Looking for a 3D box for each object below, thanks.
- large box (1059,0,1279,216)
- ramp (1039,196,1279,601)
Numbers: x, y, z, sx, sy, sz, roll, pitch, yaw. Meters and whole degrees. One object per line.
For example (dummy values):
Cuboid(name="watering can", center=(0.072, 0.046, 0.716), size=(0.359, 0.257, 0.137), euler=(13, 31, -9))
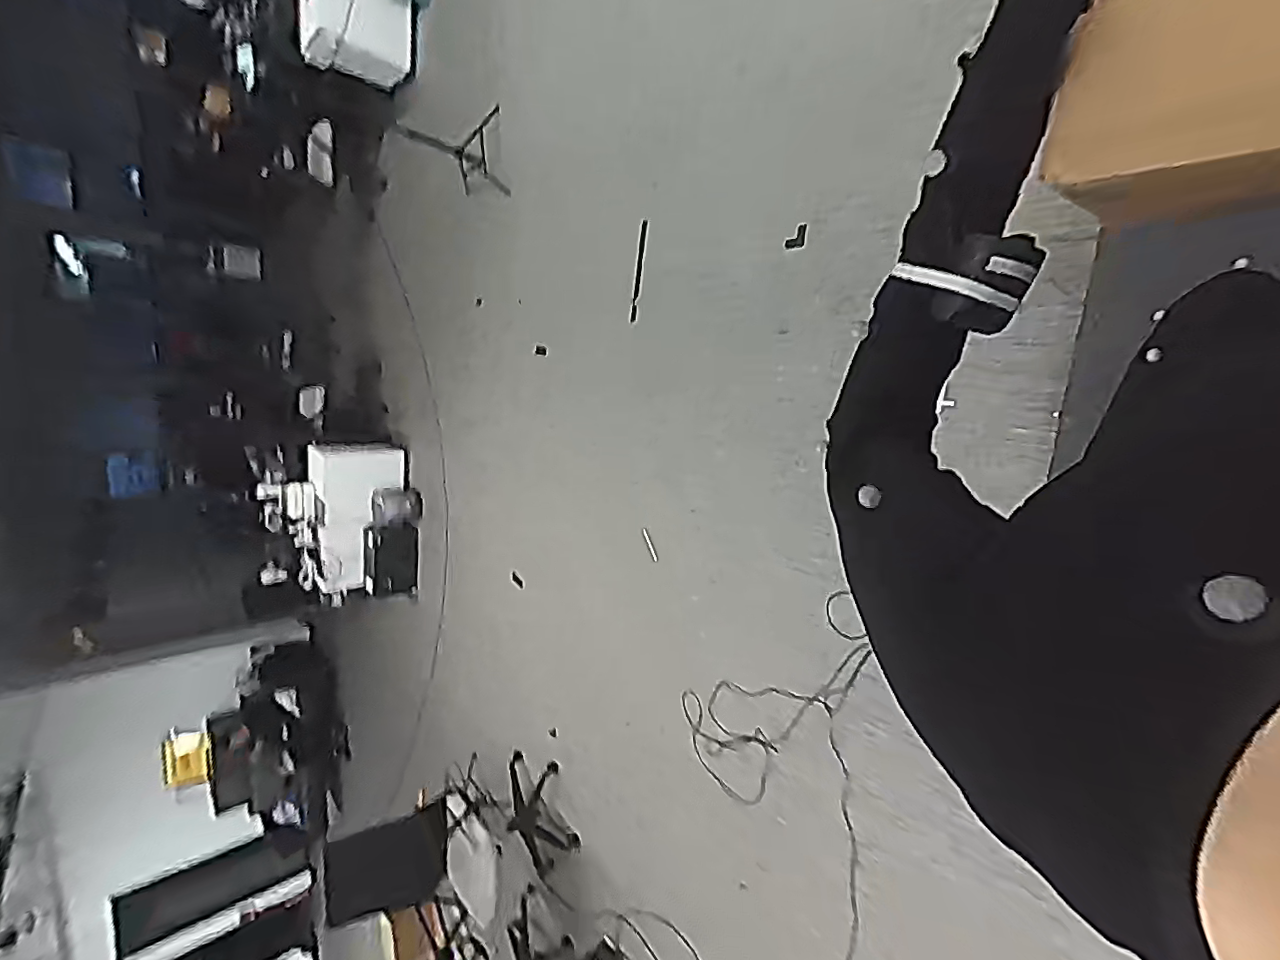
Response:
Cuboid(name="large box", center=(0.510, -0.354, 0.279), size=(0.408, 0.320, 0.320), euler=(14, 113, 43))
Cuboid(name="ramp", center=(1.111, -0.268, 0.981), size=(0.509, 0.206, 0.991), euler=(14, 104, 44))
